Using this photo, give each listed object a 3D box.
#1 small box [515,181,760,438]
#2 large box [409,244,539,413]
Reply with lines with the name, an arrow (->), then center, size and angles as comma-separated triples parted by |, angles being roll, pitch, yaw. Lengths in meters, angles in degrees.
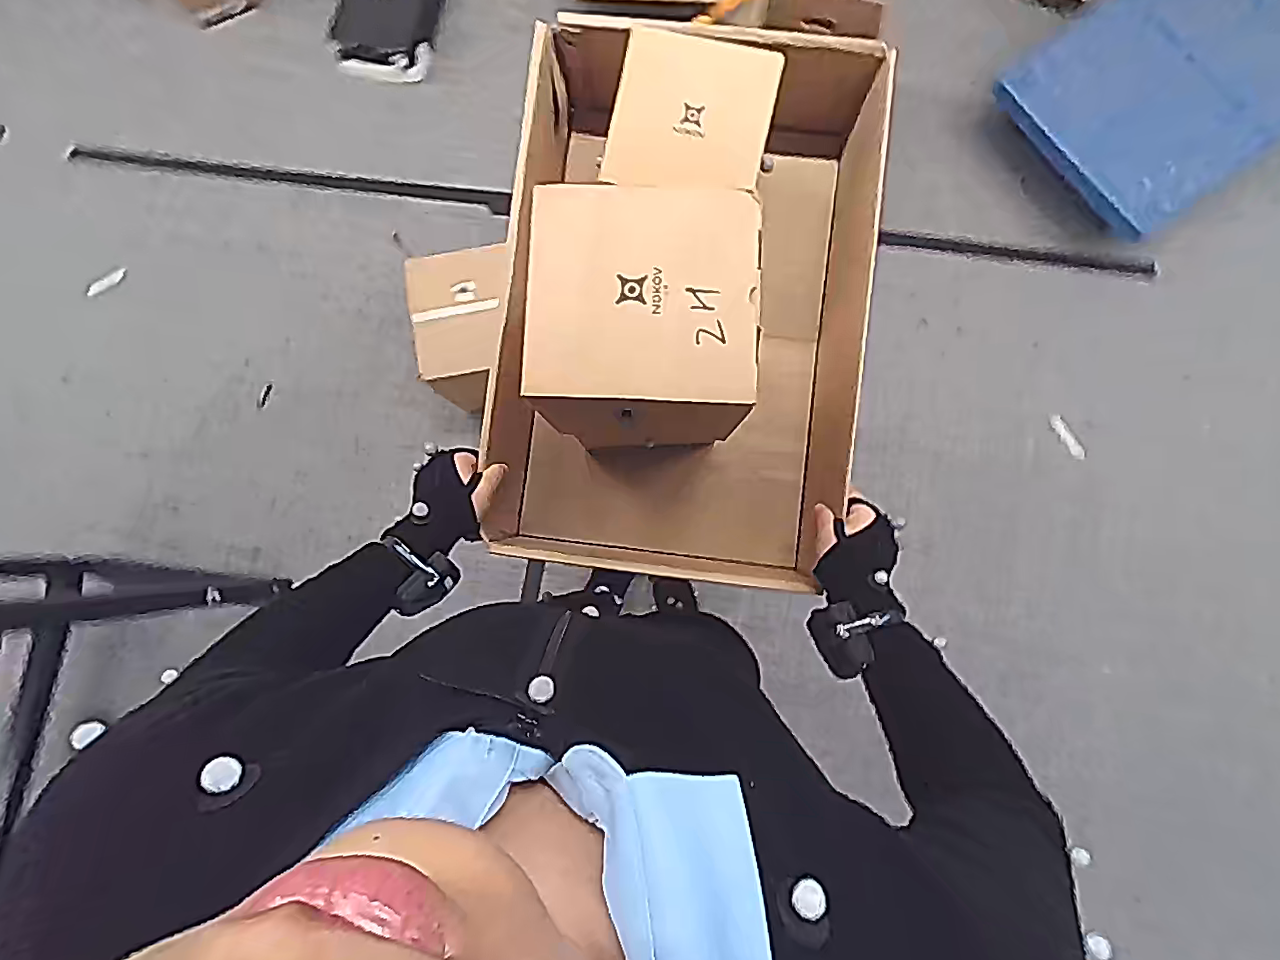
small box -> 0.001, -0.131, 0.474 | 0.179, 0.176, 0.168 | 2, 86, 1
large box -> -0.337, -0.392, 1.441 | 0.408, 0.320, 0.320 | -10, 82, 2
